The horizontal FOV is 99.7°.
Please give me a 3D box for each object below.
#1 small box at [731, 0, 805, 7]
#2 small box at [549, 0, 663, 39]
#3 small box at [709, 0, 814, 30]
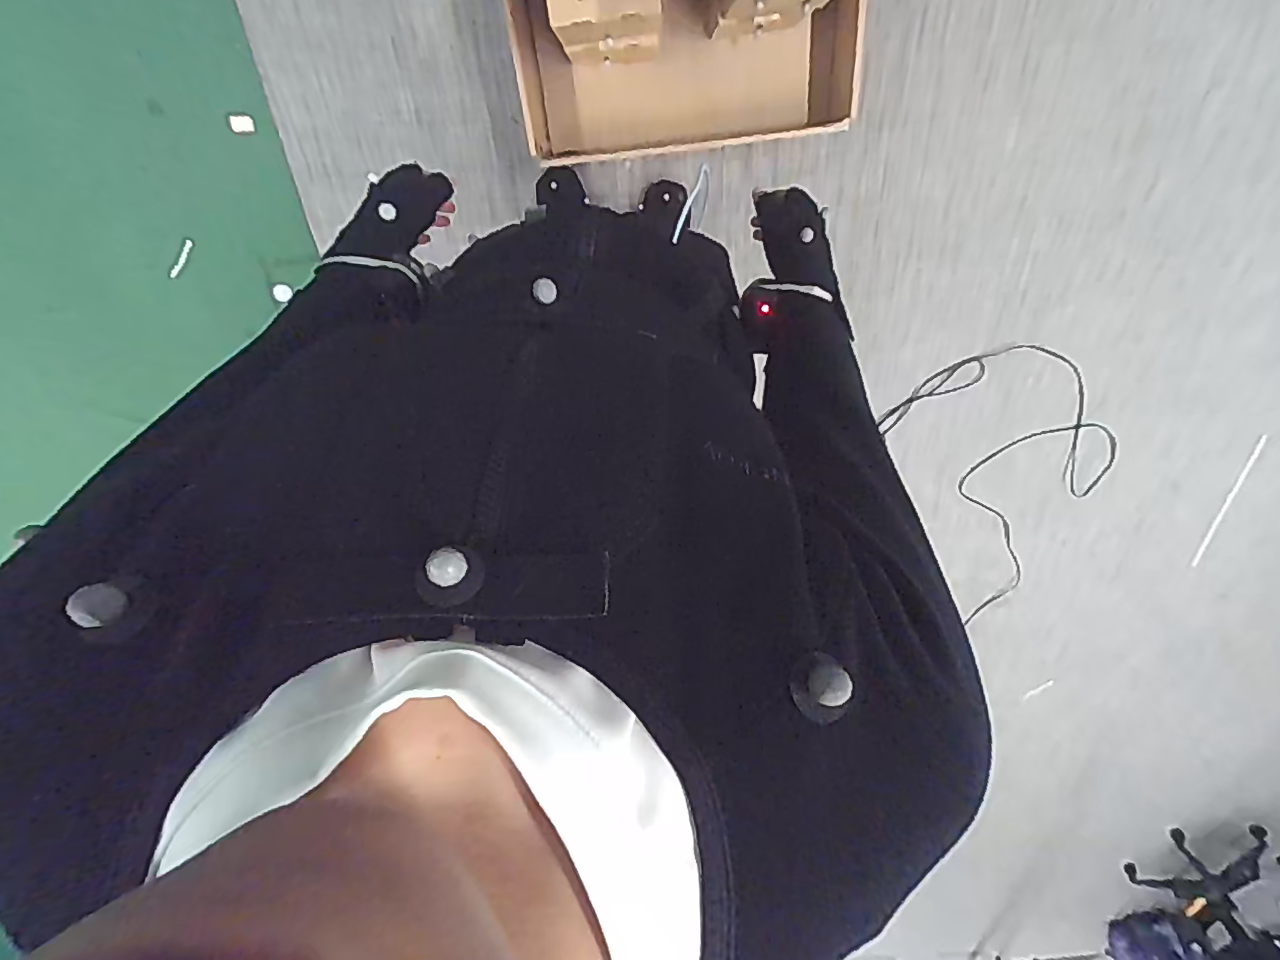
[{"bbox_3d":[0.213,-0.805,0.770,0.168,0.176,0.179,-4,122,4],"label":"small box"},{"bbox_3d":[-0.057,-0.788,0.801,0.168,0.176,0.179,-6,122,3],"label":"small box"},{"bbox_3d":[0.202,-0.900,0.925,0.168,0.176,0.179,-7,122,7],"label":"small box"}]
